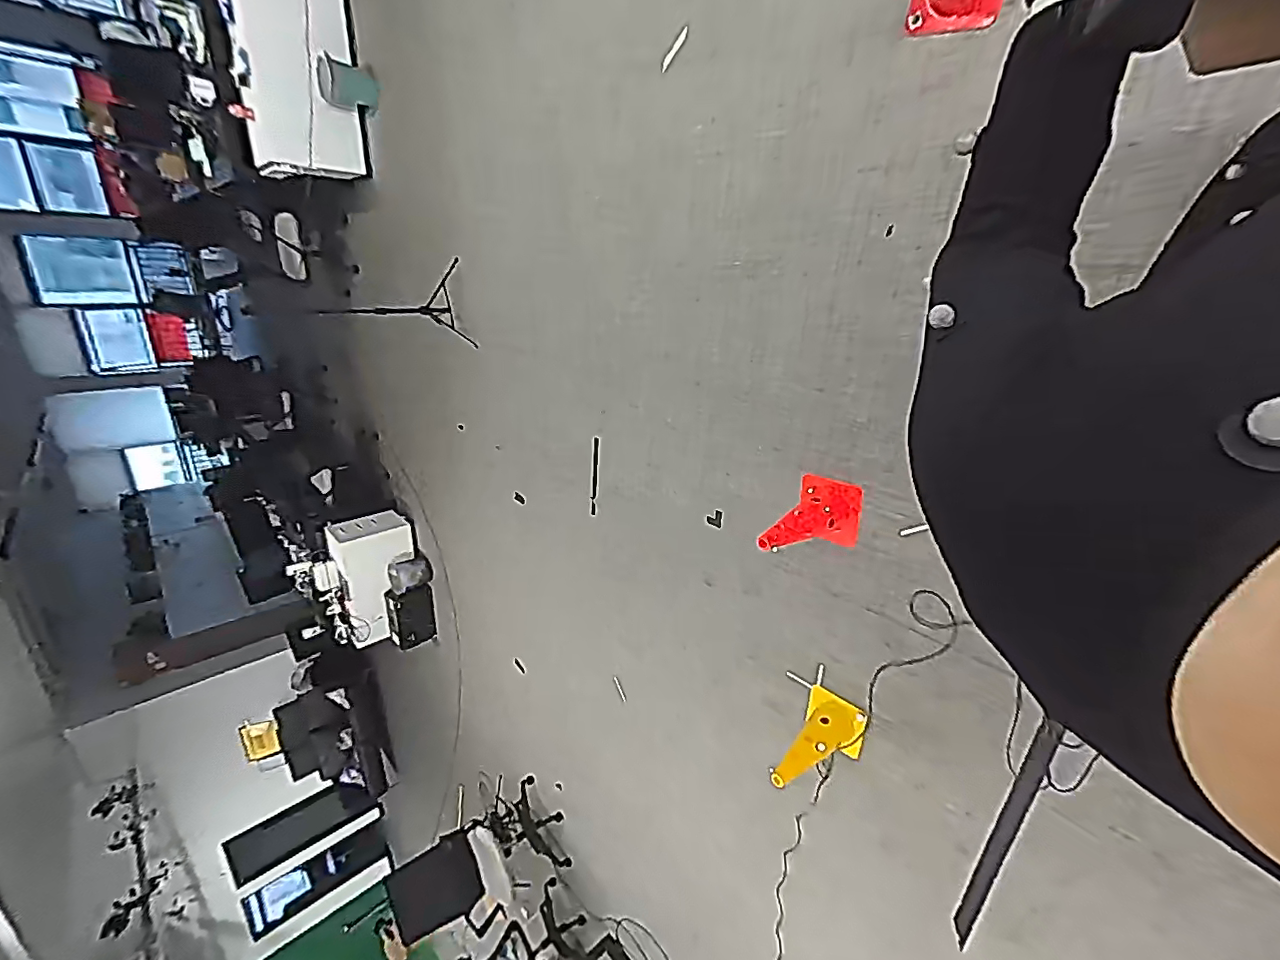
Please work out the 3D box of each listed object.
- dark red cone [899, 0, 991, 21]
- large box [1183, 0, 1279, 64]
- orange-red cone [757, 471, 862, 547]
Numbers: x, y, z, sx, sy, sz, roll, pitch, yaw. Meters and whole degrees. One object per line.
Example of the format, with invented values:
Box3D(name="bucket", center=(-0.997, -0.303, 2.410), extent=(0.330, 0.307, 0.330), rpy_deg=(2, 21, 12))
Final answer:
Box3D(name="dark red cone", center=(0.547, -1.052, 1.021), extent=(0.201, 0.394, 0.202), rpy_deg=(29, 124, 38))
Box3D(name="large box", center=(0.548, -0.450, 0.232), extent=(0.408, 0.320, 0.320), rpy_deg=(17, 120, 42))
Box3D(name="orange-red cone", center=(0.463, 0.124, 1.571), extent=(0.198, 0.360, 0.199), rpy_deg=(21, 120, 44))
